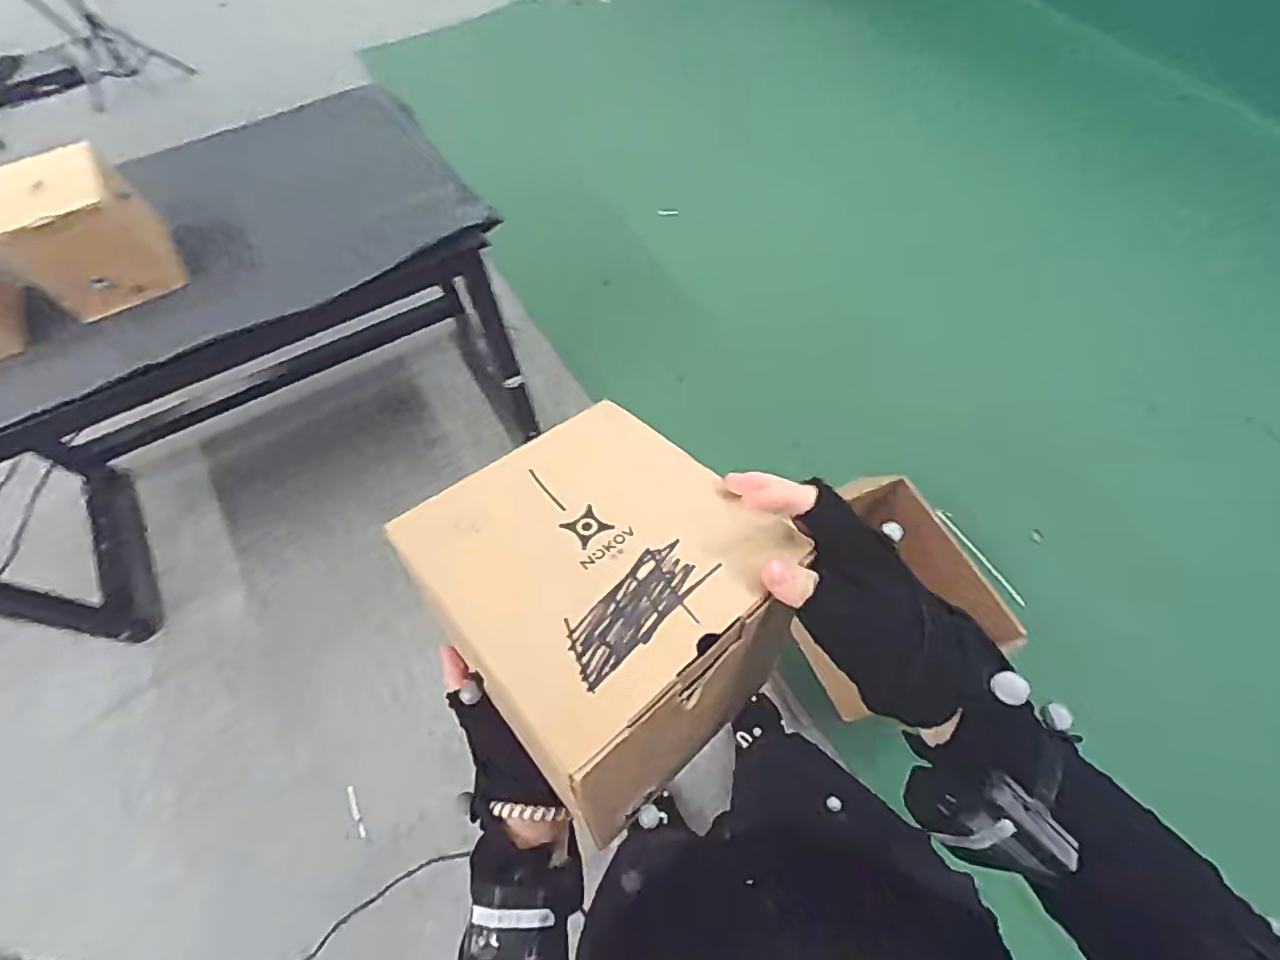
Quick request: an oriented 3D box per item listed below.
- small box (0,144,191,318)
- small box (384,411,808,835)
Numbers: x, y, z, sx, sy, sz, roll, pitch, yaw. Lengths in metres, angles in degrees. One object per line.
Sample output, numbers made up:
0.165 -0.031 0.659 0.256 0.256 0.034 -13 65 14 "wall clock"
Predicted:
-0.899 -0.406 0.894 0.168 0.176 0.179 -29 67 -14 "small box"
-0.025 0.093 0.351 0.168 0.176 0.179 -34 55 -28 "small box"
